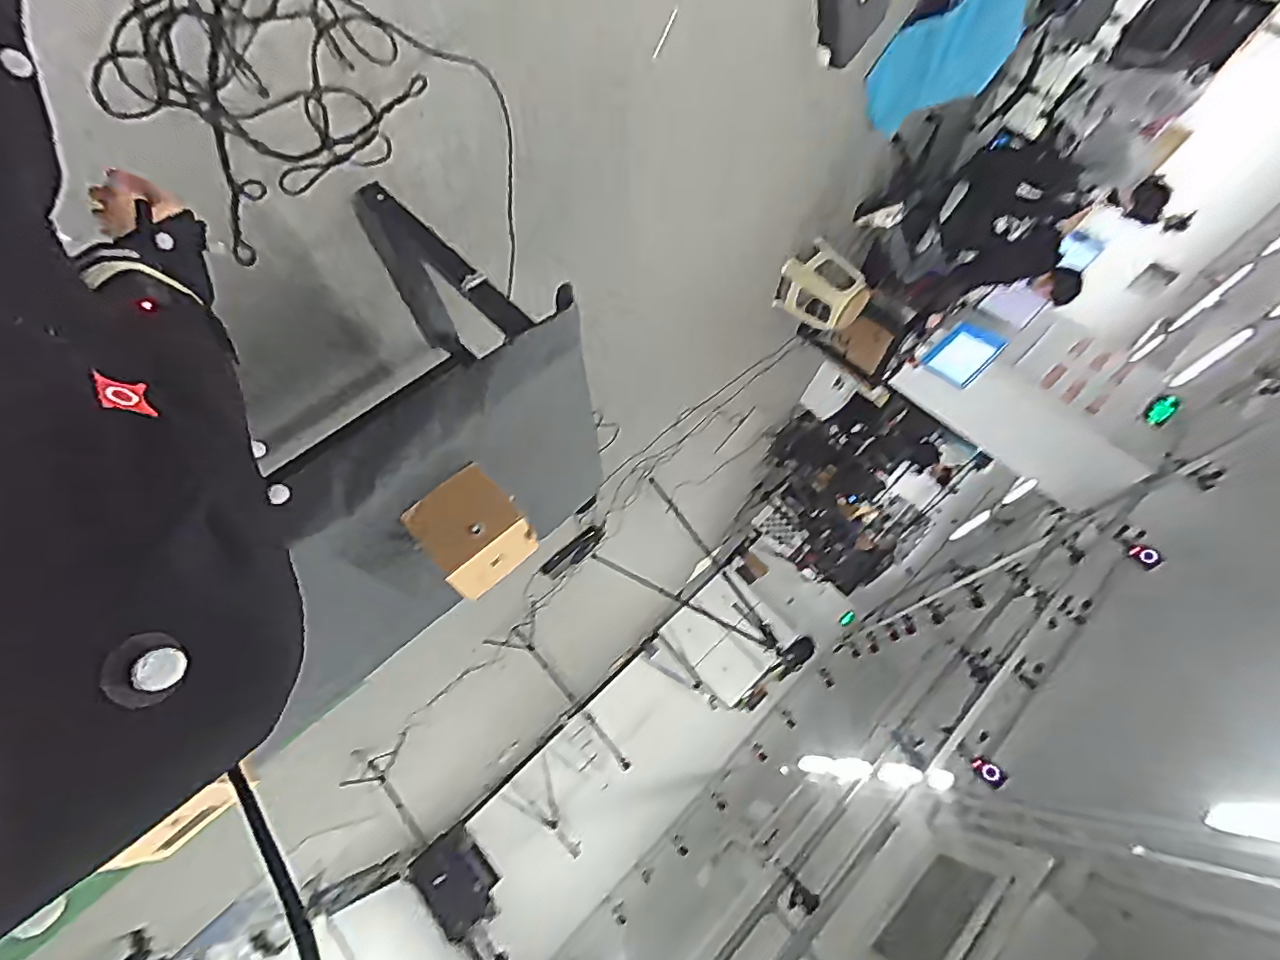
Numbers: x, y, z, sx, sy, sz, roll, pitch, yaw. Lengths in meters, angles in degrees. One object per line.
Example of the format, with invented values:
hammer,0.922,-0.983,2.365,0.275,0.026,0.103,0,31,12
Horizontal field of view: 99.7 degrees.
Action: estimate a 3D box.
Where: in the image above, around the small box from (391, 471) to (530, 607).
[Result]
small box,-0.346,0.113,1.062,0.179,0.176,0.168,-39,159,-18
